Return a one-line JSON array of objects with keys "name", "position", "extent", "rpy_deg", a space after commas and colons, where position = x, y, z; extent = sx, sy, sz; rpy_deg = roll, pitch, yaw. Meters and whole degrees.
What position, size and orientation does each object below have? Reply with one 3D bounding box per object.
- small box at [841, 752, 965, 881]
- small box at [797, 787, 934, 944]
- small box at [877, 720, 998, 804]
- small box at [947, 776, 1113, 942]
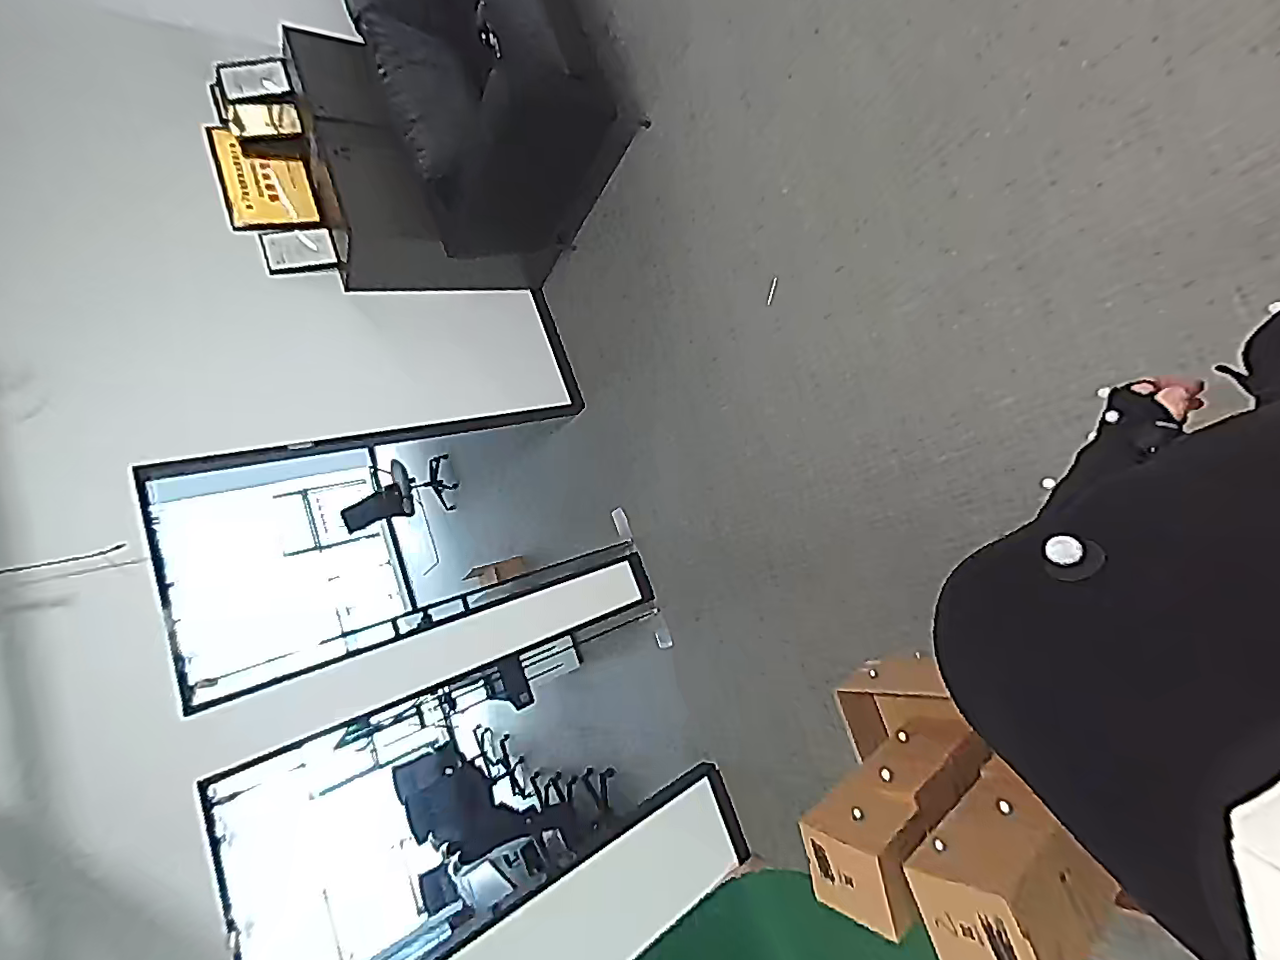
[{"name": "small box", "position": [0.578, 0.713, 1.171], "extent": [0.179, 0.176, 0.168], "rpy_deg": [-29, 77, 52]}, {"name": "small box", "position": [0.447, 0.747, 1.077], "extent": [0.179, 0.176, 0.168], "rpy_deg": [-13, 90, 52]}, {"name": "small box", "position": [0.703, 0.682, 1.268], "extent": [0.179, 0.176, 0.168], "rpy_deg": [-29, 78, 52]}, {"name": "small box", "position": [0.703, 0.660, 0.971], "extent": [0.179, 0.176, 0.168], "rpy_deg": [-33, 74, 55]}]
